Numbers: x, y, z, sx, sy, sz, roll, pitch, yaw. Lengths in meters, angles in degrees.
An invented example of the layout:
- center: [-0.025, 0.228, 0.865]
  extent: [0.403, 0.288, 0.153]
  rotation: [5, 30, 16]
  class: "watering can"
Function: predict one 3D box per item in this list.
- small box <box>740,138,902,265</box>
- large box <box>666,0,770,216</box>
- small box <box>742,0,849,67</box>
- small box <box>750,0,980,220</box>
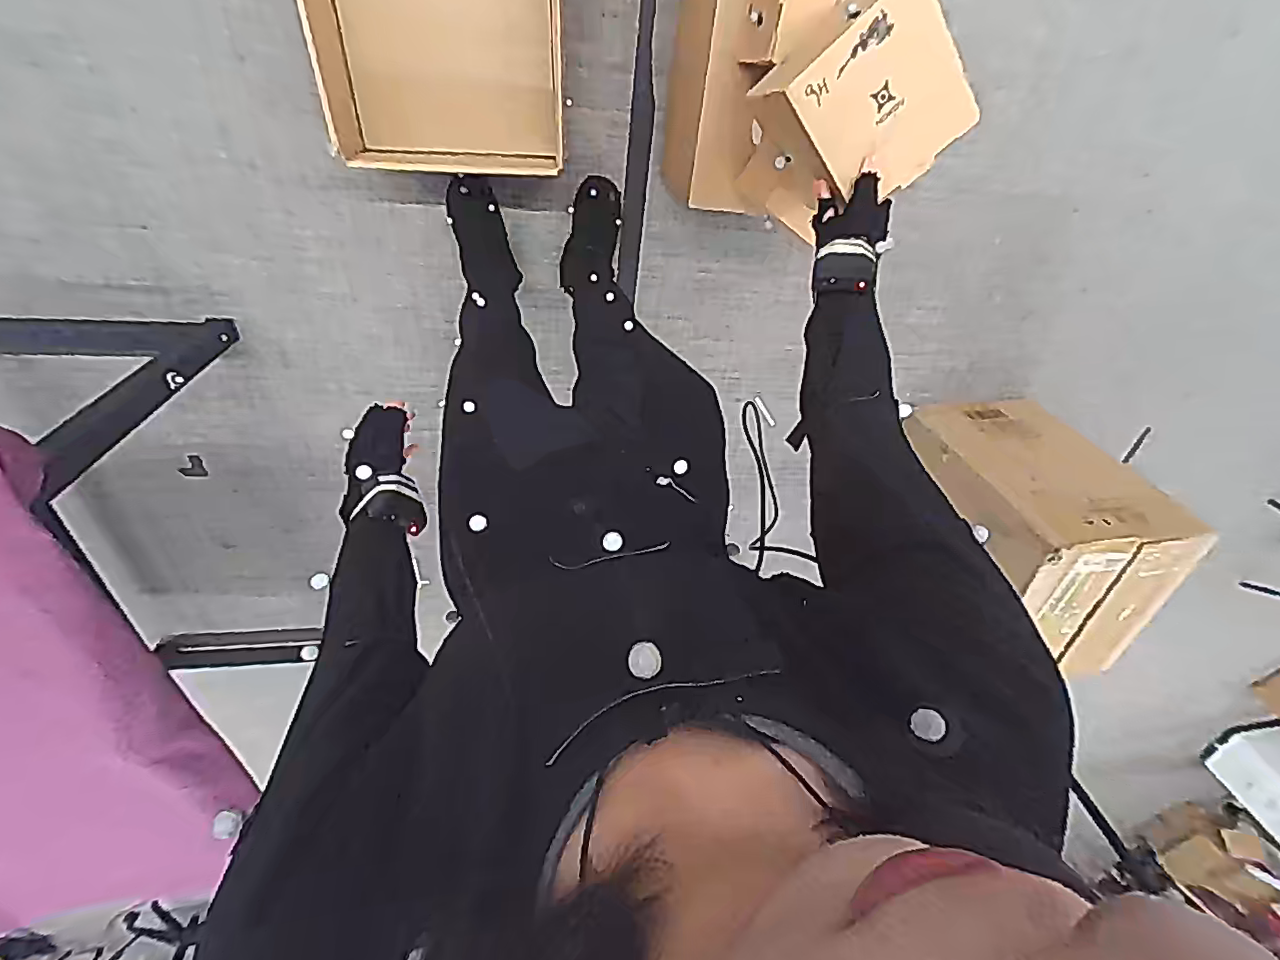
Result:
- center: [0.287, -0.486, 0.865]
  extent: [0.168, 0.176, 0.179]
  rotation: [25, 119, -25]
  class: "small box"
- center: [0.240, -0.730, 0.983]
  extent: [0.320, 0.320, 0.408]
  rotation: [0, 127, -8]
  class: "large box"
- center: [0.256, -0.657, 0.735]
  extent: [0.179, 0.176, 0.168]
  rotation: [2, 128, -11]
  class: "small box"
- center: [0.262, -0.456, 0.659]
  extent: [0.168, 0.176, 0.179]
  rotation: [-37, 119, 16]
  class: "small box"
